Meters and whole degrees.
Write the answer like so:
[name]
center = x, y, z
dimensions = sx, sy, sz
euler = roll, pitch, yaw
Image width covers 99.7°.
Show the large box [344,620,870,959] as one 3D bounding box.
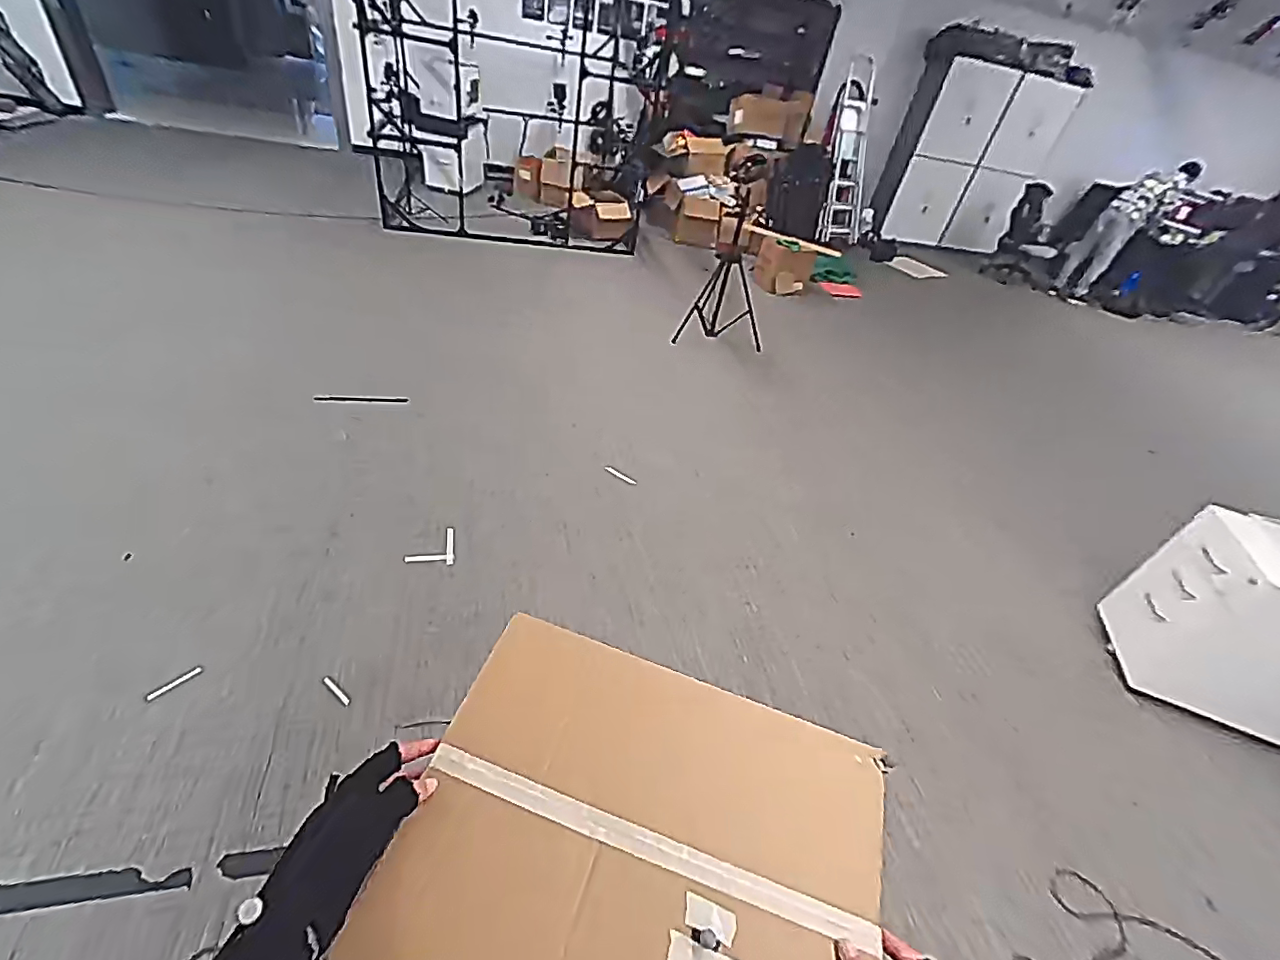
[large box]
center = -0.015, 0.417, 0.593
dimensions = 0.408, 0.320, 0.320
euler = 19, 49, 8
